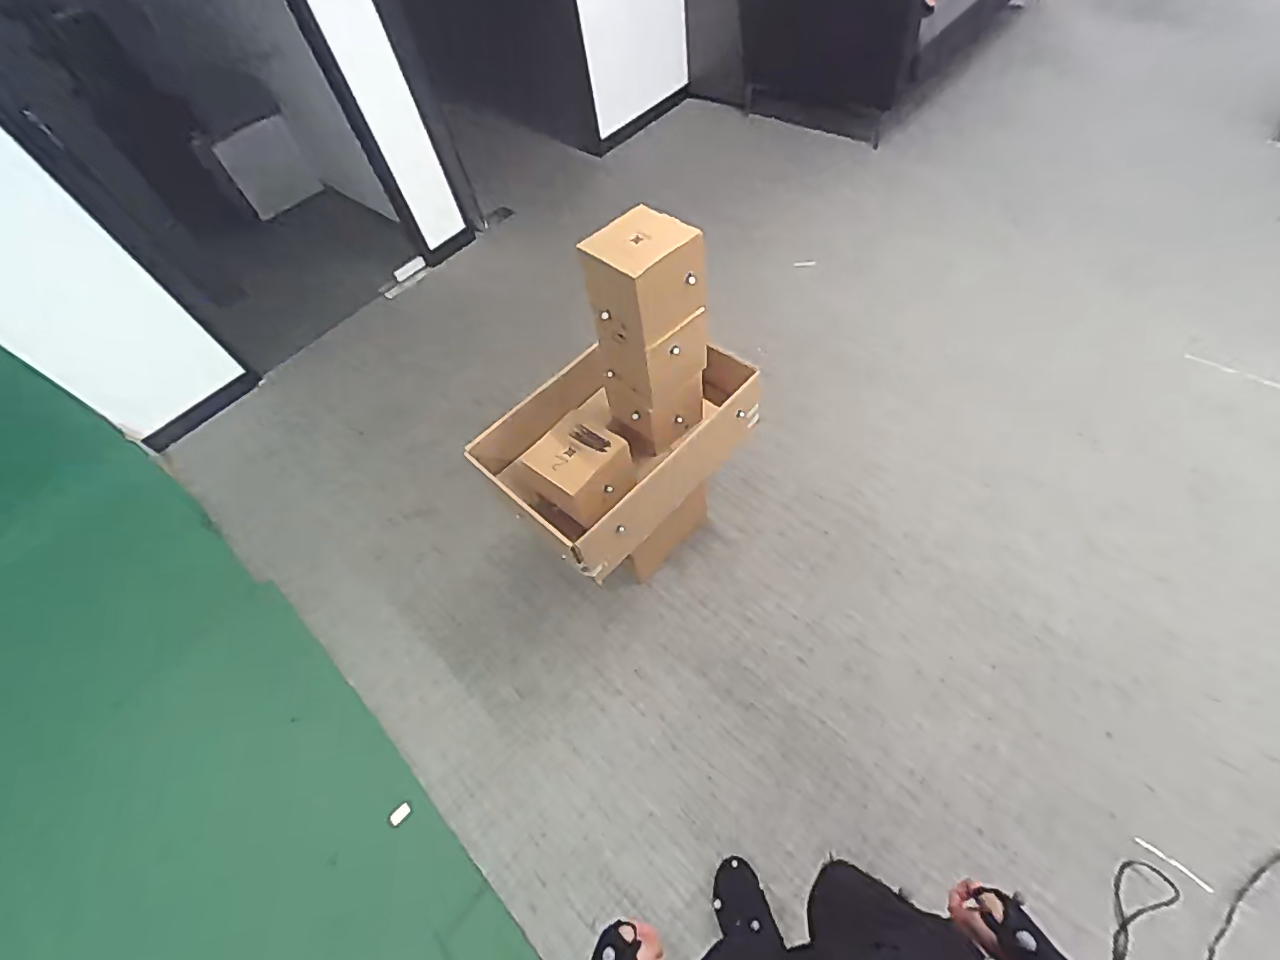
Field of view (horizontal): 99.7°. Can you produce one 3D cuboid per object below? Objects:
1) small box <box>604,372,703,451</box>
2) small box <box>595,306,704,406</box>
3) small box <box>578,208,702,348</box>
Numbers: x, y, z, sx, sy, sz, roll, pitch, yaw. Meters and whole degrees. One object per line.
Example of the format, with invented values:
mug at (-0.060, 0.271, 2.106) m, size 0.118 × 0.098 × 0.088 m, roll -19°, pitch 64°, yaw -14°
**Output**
small box at (0.040, -0.197, 1.328) m, size 0.168 × 0.176 × 0.179 m, roll -39°, pitch 58°, yaw -17°
small box at (0.030, -0.297, 1.197) m, size 0.179 × 0.176 × 0.168 m, roll -40°, pitch 59°, yaw -18°
small box at (0.007, -0.398, 1.071) m, size 0.179 × 0.176 × 0.168 m, roll -41°, pitch 59°, yaw -18°
